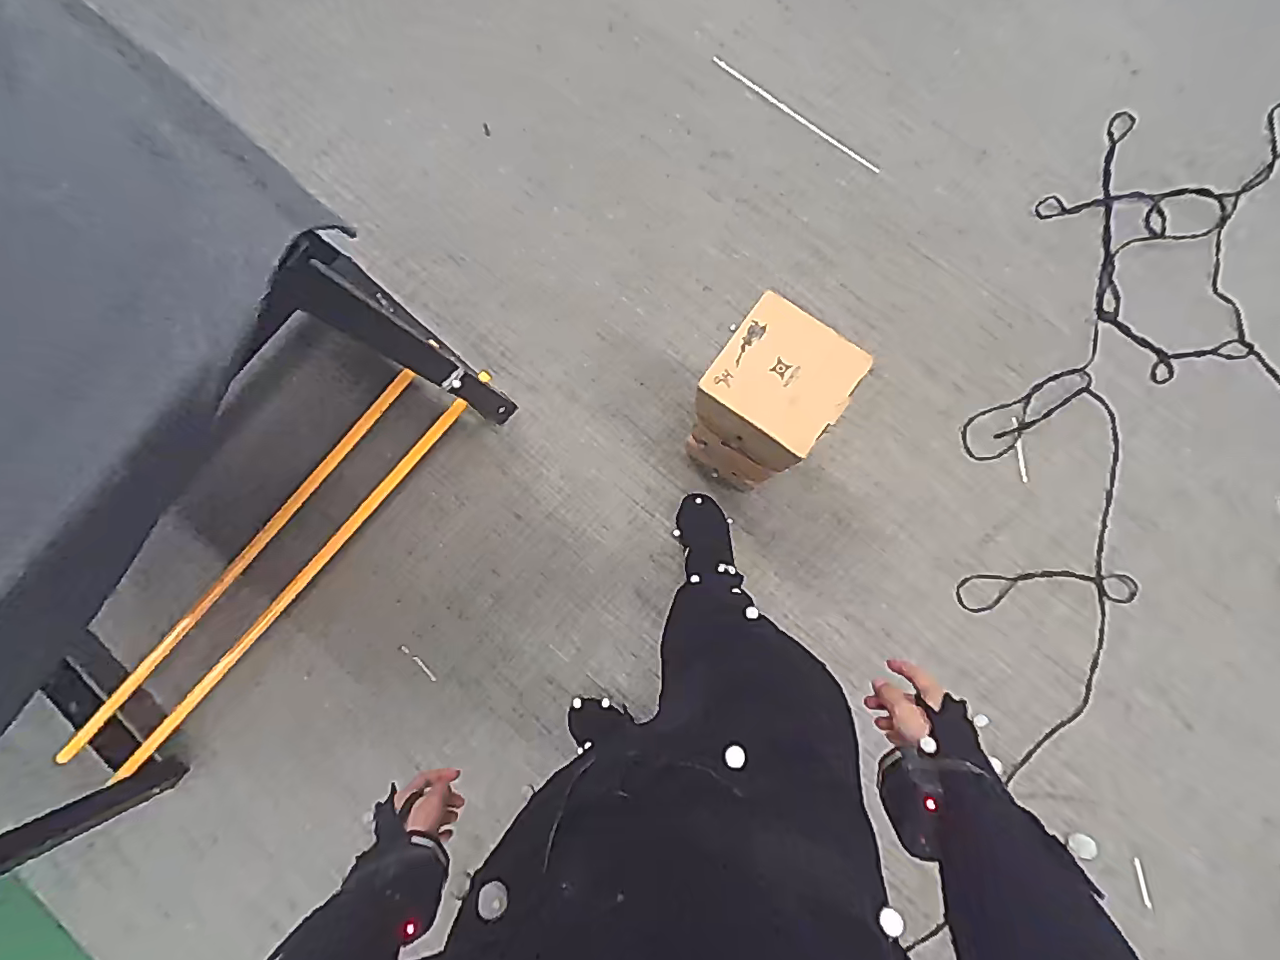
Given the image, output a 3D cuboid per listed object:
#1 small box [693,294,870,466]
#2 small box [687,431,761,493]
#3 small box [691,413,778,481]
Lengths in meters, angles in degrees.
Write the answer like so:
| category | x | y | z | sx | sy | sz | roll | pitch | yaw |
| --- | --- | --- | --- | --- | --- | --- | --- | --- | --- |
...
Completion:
| category | x | y | z | sx | sy | sz | roll | pitch | yaw |
| --- | --- | --- | --- | --- | --- | --- | --- | --- | --- |
| small box | 0.195 | -0.134 | 0.802 | 0.179 | 0.176 | 0.168 | 37 | 87 | 5 |
| small box | 0.209 | -0.090 | 1.127 | 0.168 | 0.176 | 0.179 | 35 | 88 | 7 |
| small box | 0.206 | -0.114 | 0.965 | 0.168 | 0.176 | 0.179 | 36 | 87 | 6 |
